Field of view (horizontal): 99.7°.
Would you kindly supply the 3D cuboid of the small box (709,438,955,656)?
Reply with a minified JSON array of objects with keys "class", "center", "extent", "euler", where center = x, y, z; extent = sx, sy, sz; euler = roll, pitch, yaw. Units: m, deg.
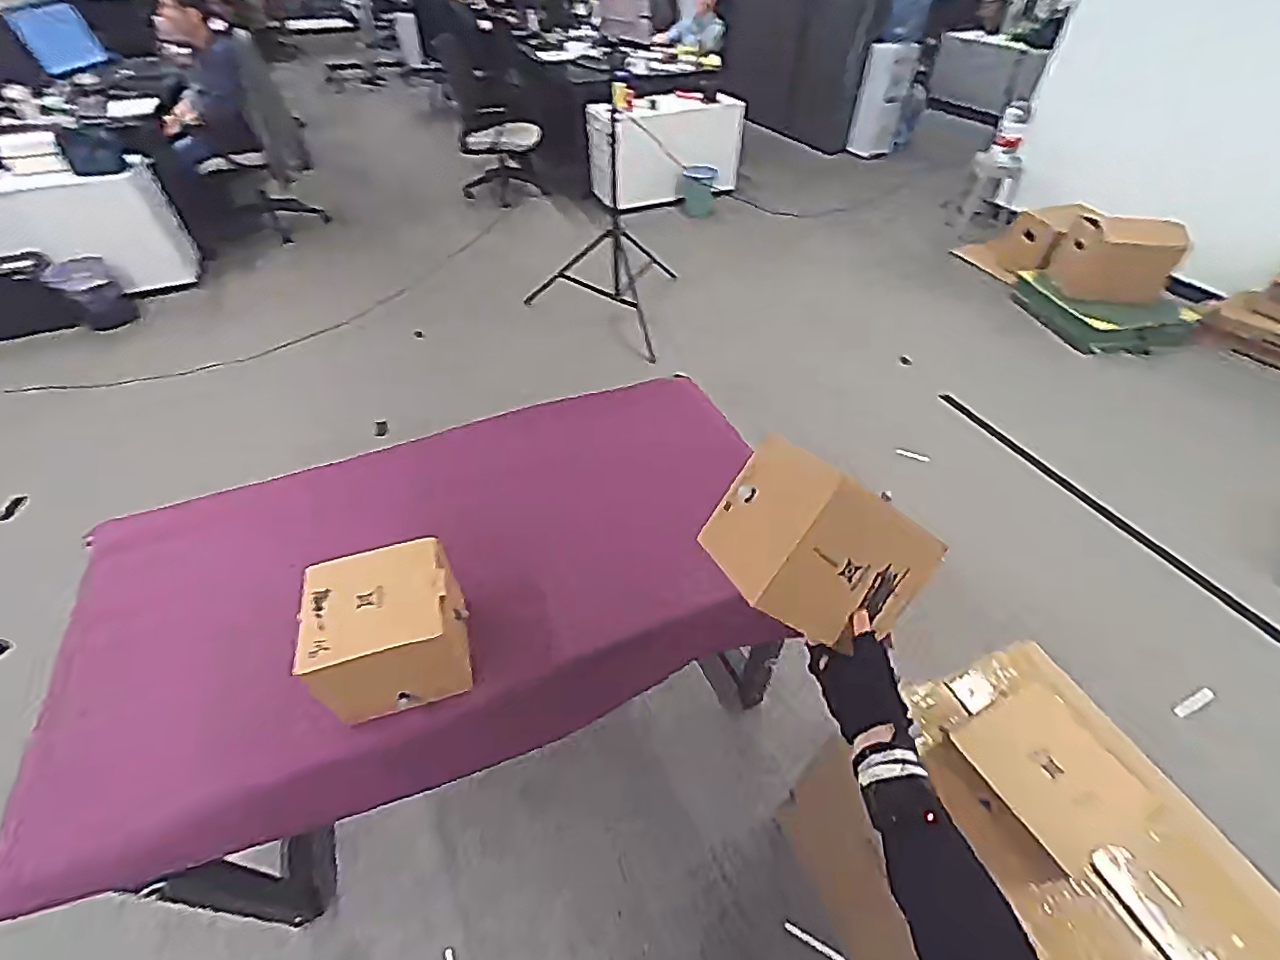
[{"class":"small box","center":[0.214,0.069,0.643],"extent":[0.179,0.168,0.176],"euler":[30,8,-21]}]

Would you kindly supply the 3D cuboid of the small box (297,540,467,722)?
[{"class":"small box","center":[-0.352,0.215,0.772],"extent":[0.179,0.176,0.168],"euler":[-13,47,-13]}]

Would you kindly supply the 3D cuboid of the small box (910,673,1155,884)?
[{"class":"small box","center":[0.507,0.404,0.732],"extent":[0.168,0.176,0.179],"euler":[-23,51,-17]}]
